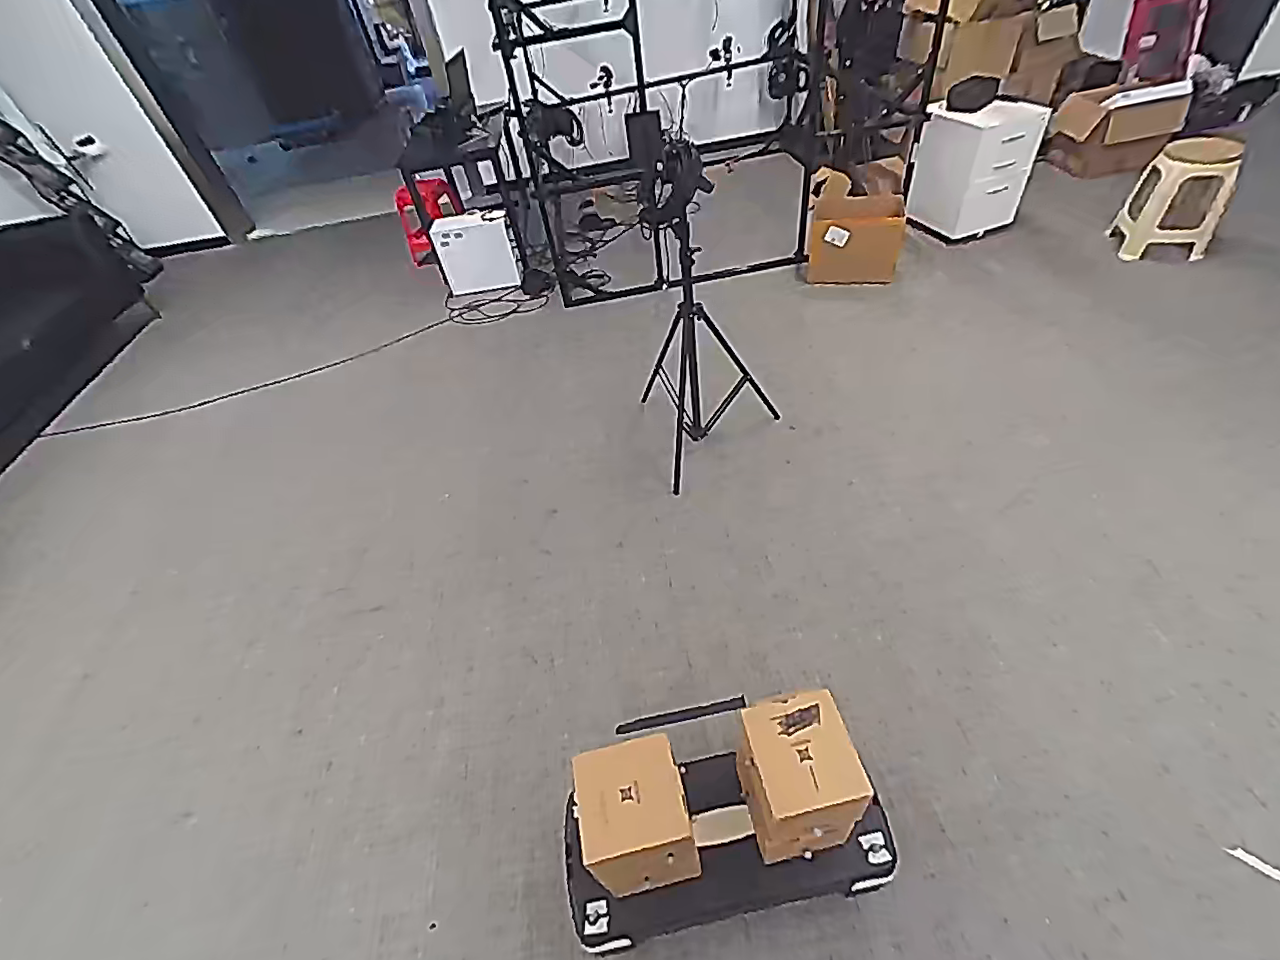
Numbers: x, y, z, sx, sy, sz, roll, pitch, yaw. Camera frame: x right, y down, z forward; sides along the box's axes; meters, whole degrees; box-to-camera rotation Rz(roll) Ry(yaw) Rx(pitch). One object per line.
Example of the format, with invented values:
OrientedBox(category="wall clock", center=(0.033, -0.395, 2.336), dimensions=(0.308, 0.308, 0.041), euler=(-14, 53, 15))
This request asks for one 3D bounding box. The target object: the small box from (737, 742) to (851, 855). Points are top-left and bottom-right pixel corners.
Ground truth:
OrientedBox(category="small box", center=(0.296, 0.626, 1.080), dimensions=(0.168, 0.176, 0.179), euler=(-13, 46, -2))

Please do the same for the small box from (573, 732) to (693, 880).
OrientedBox(category="small box", center=(-0.009, 0.576, 0.955), dimensions=(0.179, 0.176, 0.168), euler=(-14, 44, -4))

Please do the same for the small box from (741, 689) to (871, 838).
OrientedBox(category="small box", center=(0.282, 0.508, 0.967), dimensions=(0.168, 0.176, 0.179), euler=(-13, 46, -2))

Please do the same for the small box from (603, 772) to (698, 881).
OrientedBox(category="small box", center=(0.012, 0.689, 1.072), dimensions=(0.179, 0.176, 0.168), euler=(-14, 45, -3))
